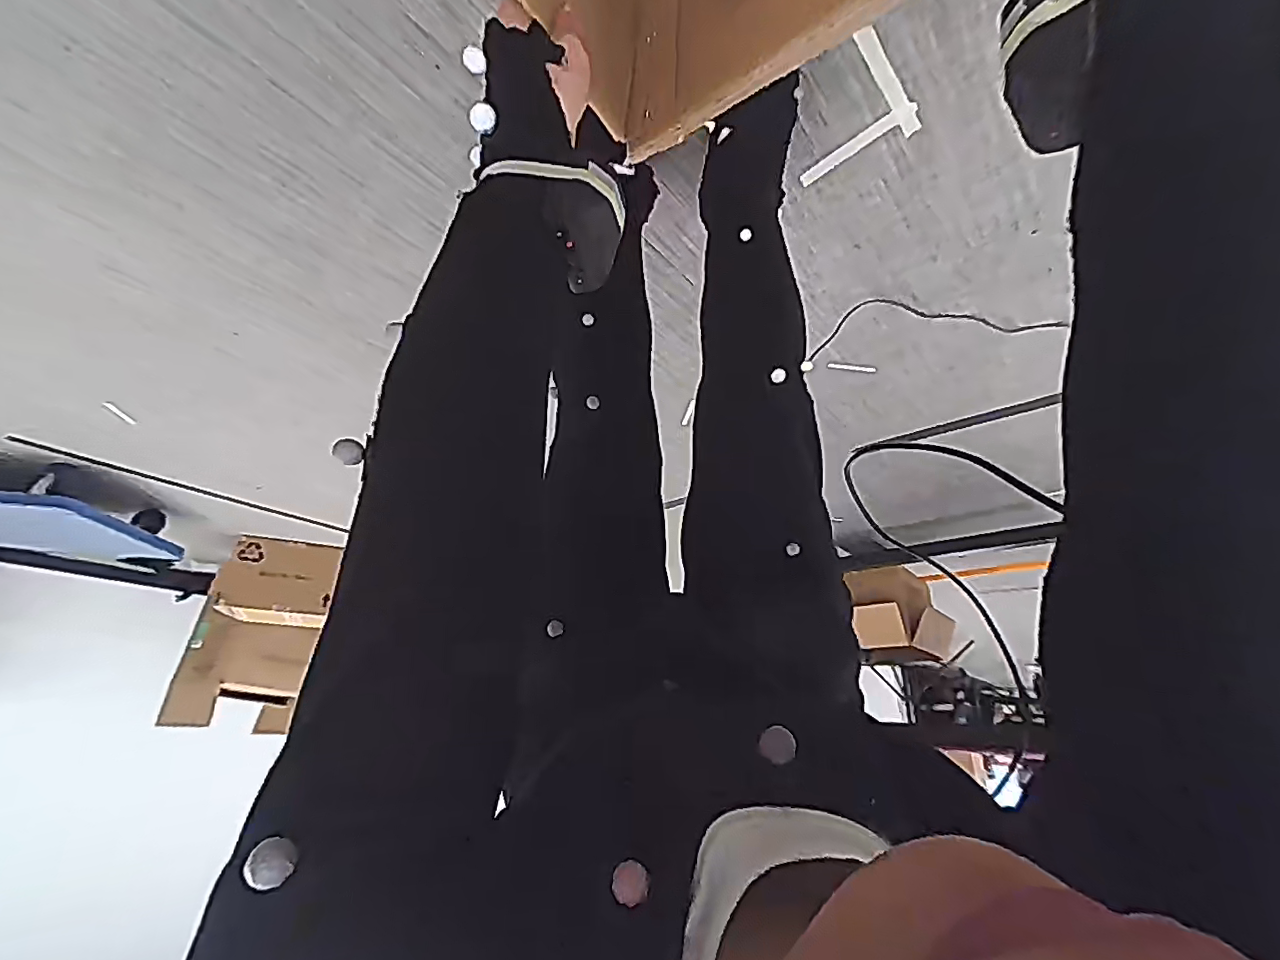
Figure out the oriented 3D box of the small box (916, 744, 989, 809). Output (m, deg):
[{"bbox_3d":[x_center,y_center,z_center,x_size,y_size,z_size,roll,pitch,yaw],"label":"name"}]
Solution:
[{"bbox_3d":[1.038,0.980,1.797,0.168,0.176,0.179,-18,148,35],"label":"small box"}]
